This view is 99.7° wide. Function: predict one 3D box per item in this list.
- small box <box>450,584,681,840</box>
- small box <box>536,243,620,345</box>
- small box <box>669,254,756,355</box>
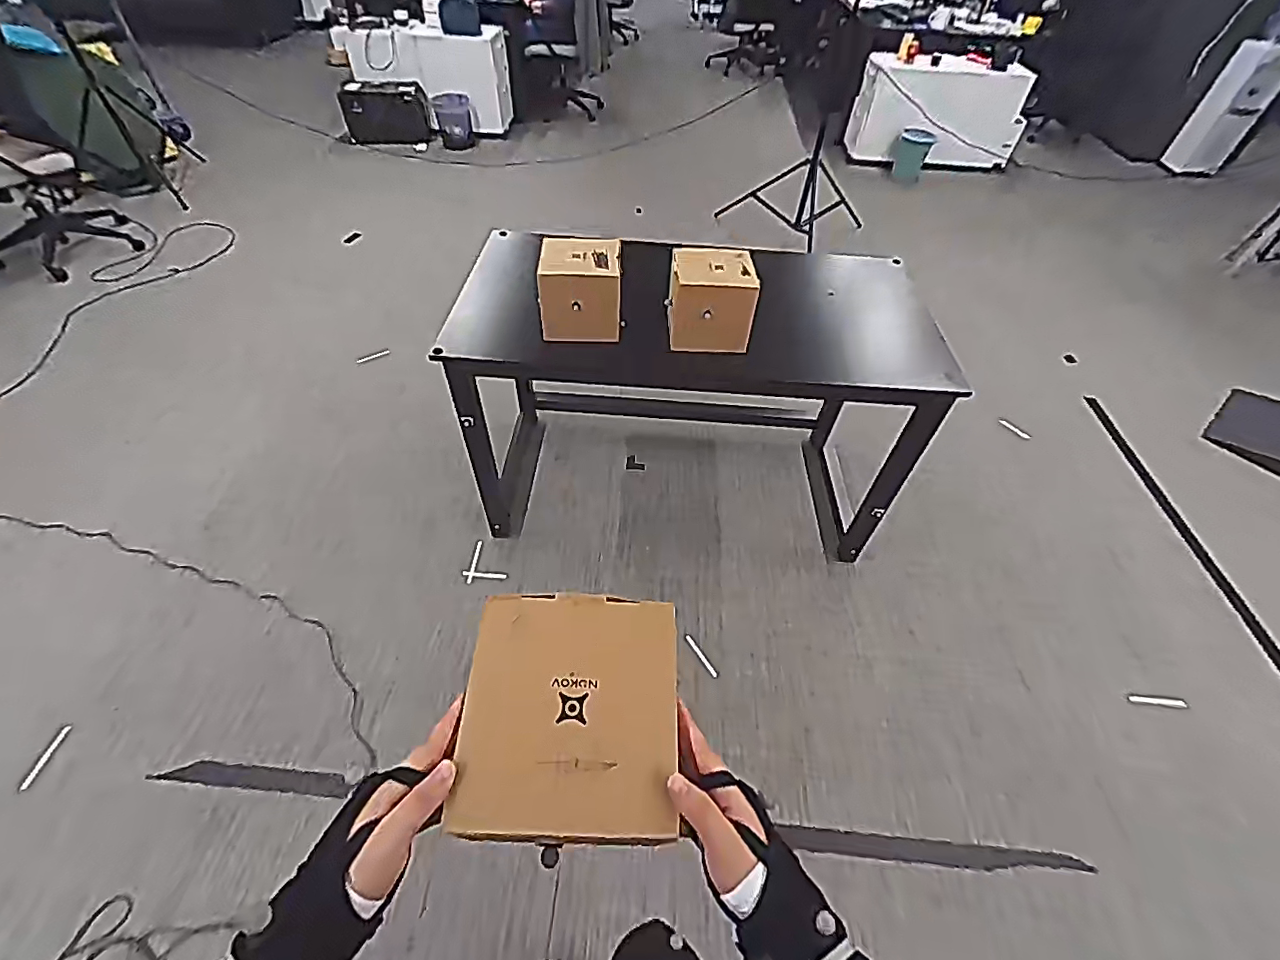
[{"bbox_3d":[-0.057,0.214,0.490,0.168,0.176,0.179,4,54,-3],"label":"small box"},{"bbox_3d":[-0.136,-0.427,1.253,0.179,0.176,0.168,0,49,-2],"label":"small box"},{"bbox_3d":[0.158,-0.403,1.248,0.179,0.176,0.168,0,49,-2],"label":"small box"}]
